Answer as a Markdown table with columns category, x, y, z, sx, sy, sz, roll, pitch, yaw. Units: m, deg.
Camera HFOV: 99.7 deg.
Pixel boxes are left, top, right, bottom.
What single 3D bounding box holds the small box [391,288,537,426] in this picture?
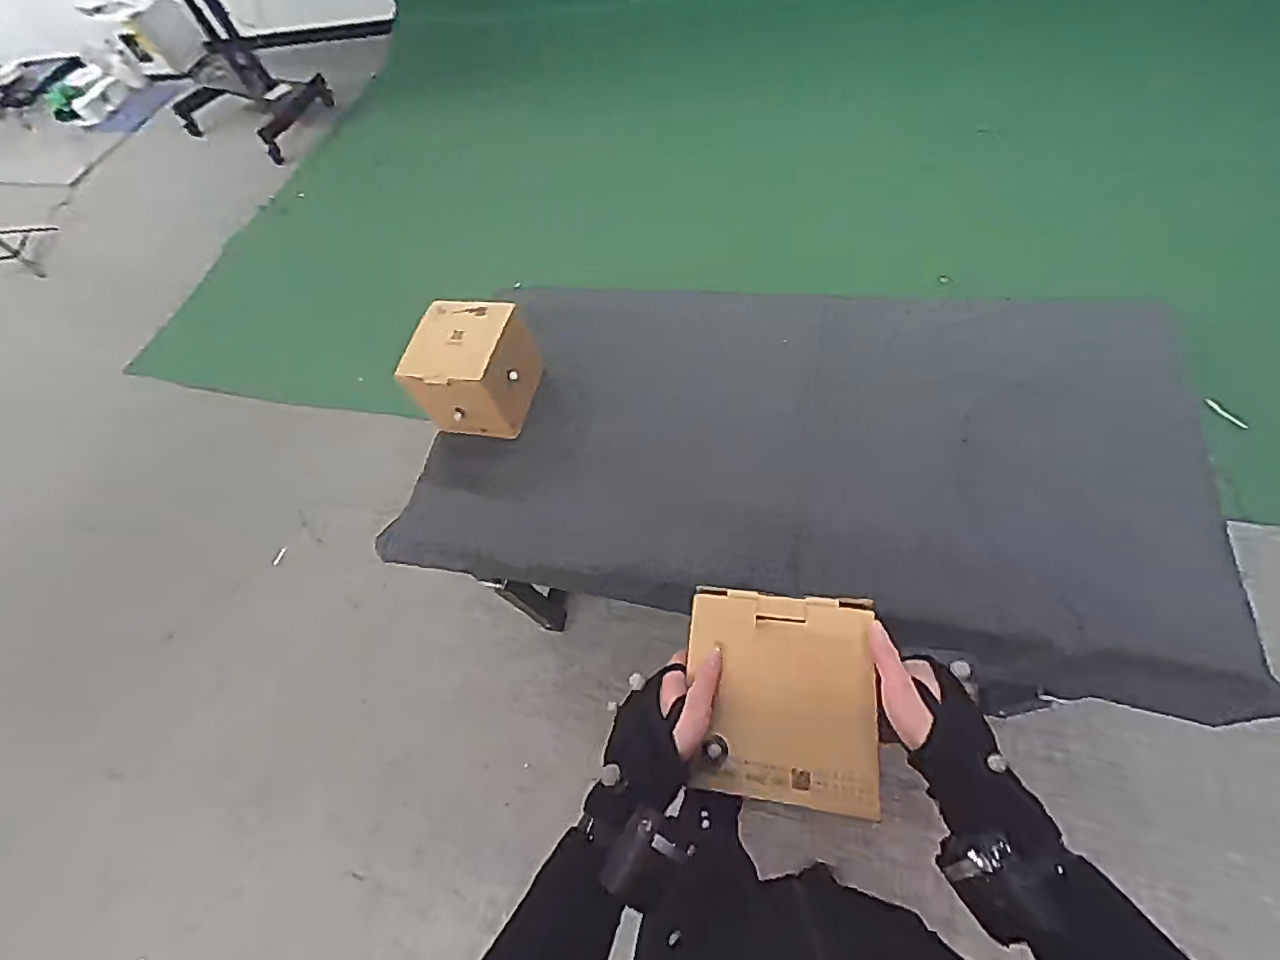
| category | x | y | z | sx | sy | sz | roll | pitch | yaw |
| --- | --- | --- | --- | --- | --- | --- | --- | --- | --- |
| small box | -0.302 | -0.216 | 0.972 | 0.168 | 0.176 | 0.179 | 8 | 65 | 13 |
